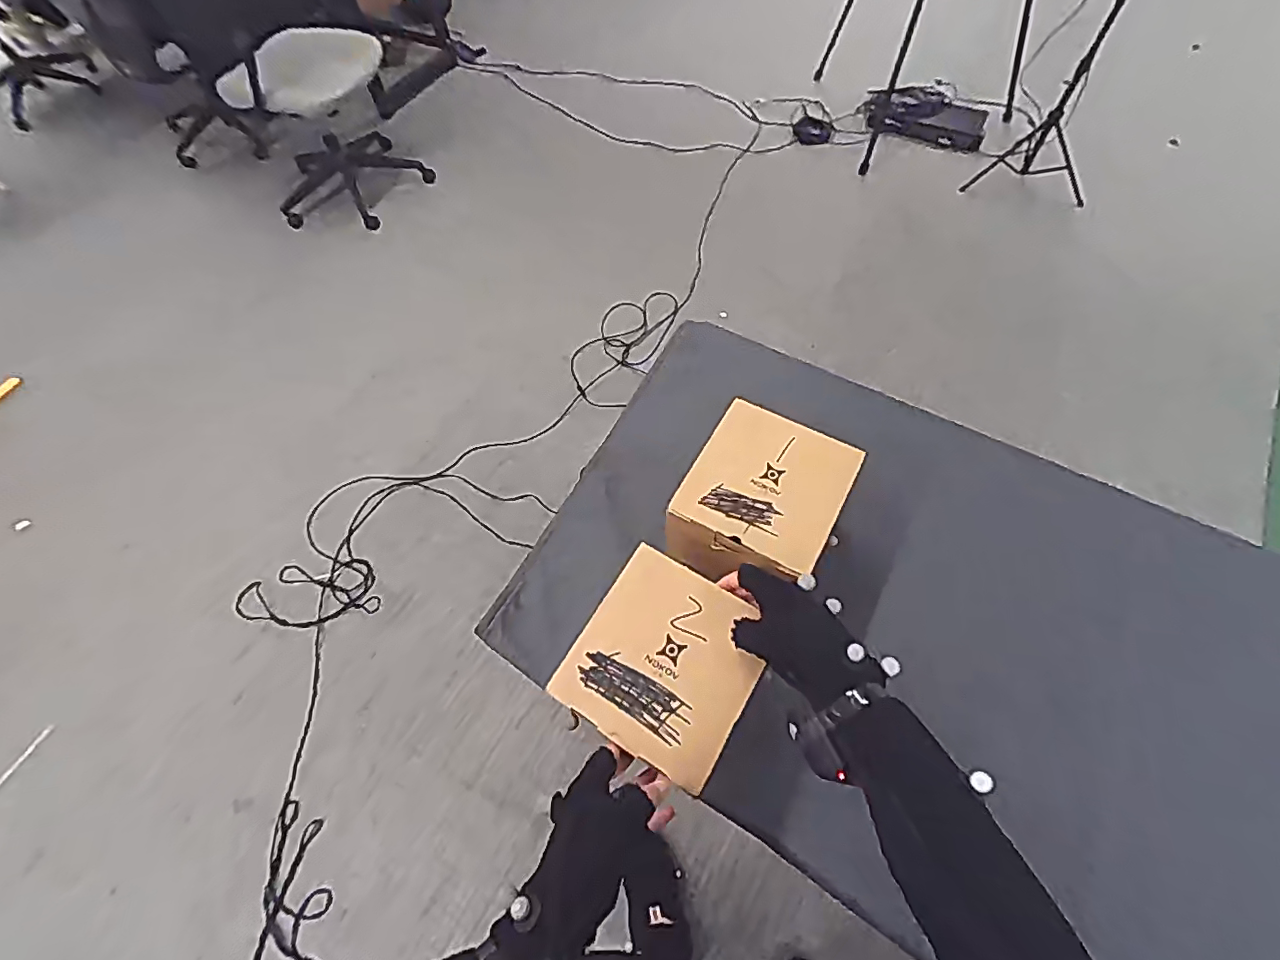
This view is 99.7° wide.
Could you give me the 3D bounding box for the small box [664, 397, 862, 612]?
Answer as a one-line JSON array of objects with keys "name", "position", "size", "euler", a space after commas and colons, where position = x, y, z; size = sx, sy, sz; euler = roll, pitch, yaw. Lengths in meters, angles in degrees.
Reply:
[{"name": "small box", "position": [0.144, 0.037, 0.671], "size": [0.168, 0.176, 0.179], "euler": [27, 65, 16]}]
